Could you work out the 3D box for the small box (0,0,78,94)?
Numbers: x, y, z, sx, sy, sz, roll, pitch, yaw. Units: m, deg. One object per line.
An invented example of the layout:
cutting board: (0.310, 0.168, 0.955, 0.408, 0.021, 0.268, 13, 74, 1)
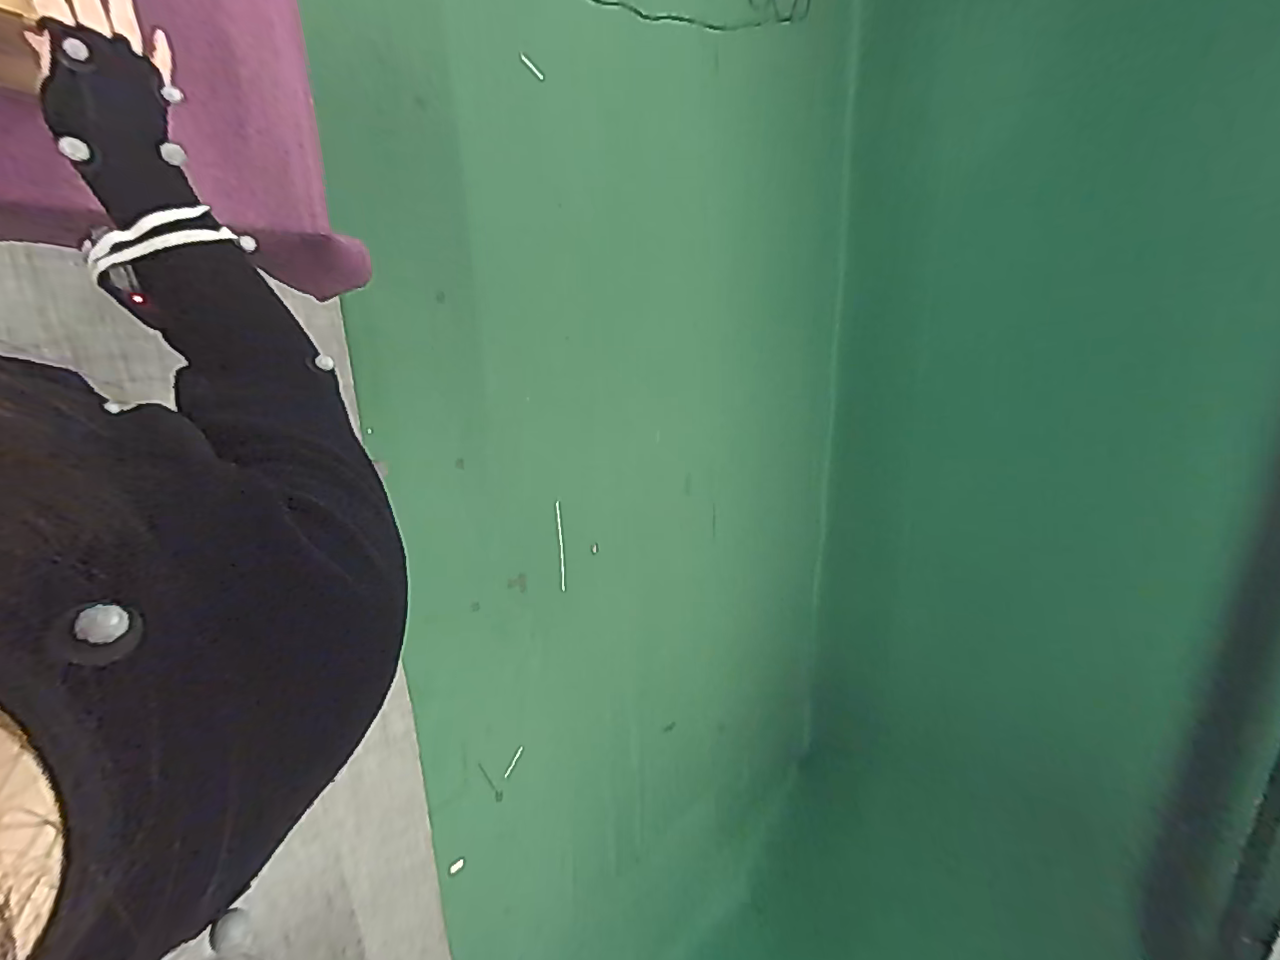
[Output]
small box: (-0.541, -0.422, 0.392, 0.168, 0.176, 0.179, -14, 108, -46)
